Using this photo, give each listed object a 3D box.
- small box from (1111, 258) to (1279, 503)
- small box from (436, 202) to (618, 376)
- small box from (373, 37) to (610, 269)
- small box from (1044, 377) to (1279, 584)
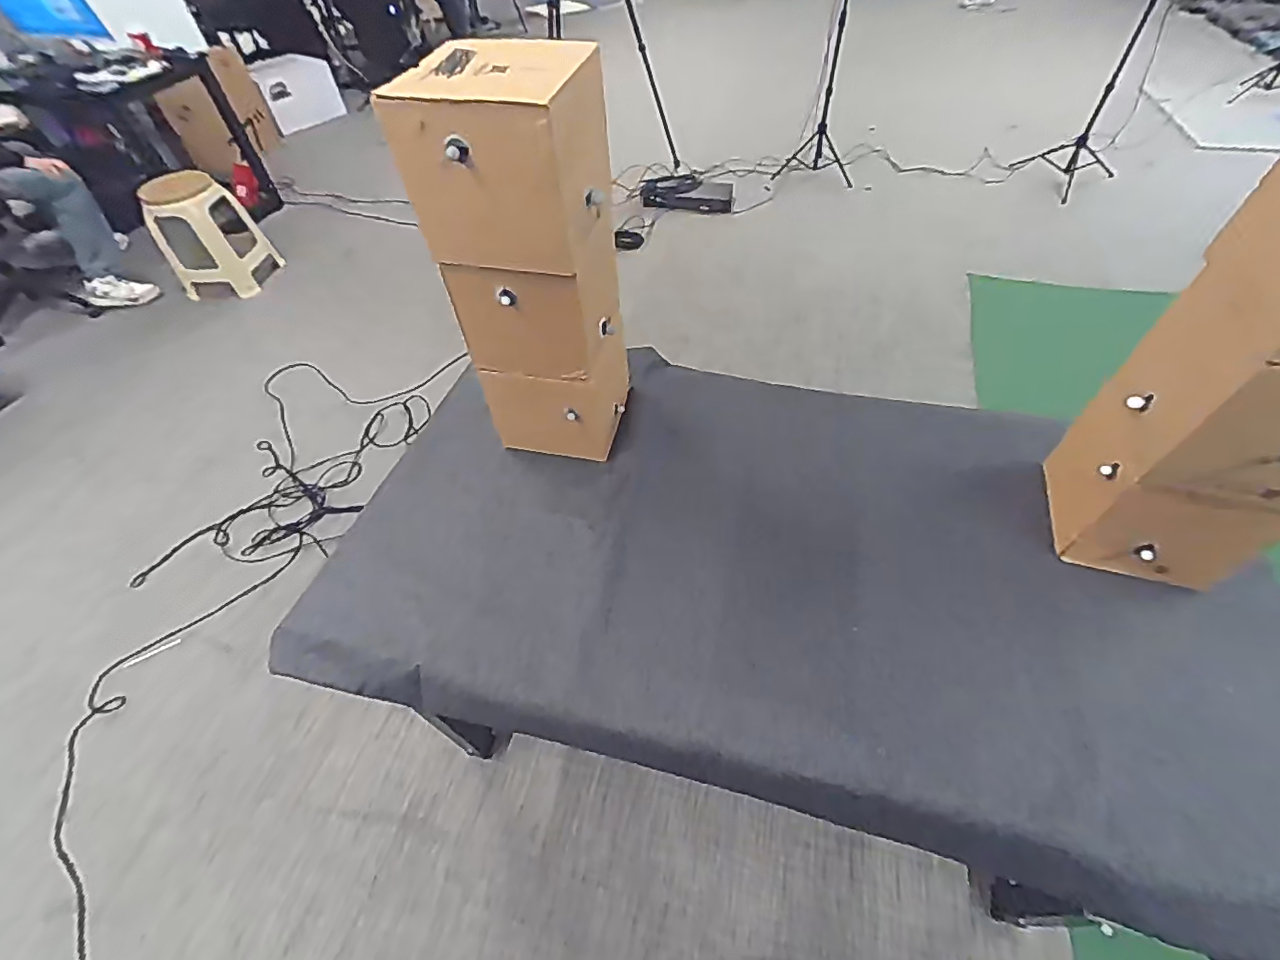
[{"bbox_3d":[0.630,-0.096,0.547,0.168,0.176,0.179,13,55,14],"label":"small box"},{"bbox_3d":[-0.135,-0.259,0.724,0.179,0.176,0.168,8,55,8],"label":"small box"},{"bbox_3d":[-0.141,-0.352,0.589,0.179,0.176,0.168,10,55,10],"label":"small box"},{"bbox_3d":[0.644,0.001,0.678,0.168,0.176,0.179,13,54,14],"label":"small box"}]
